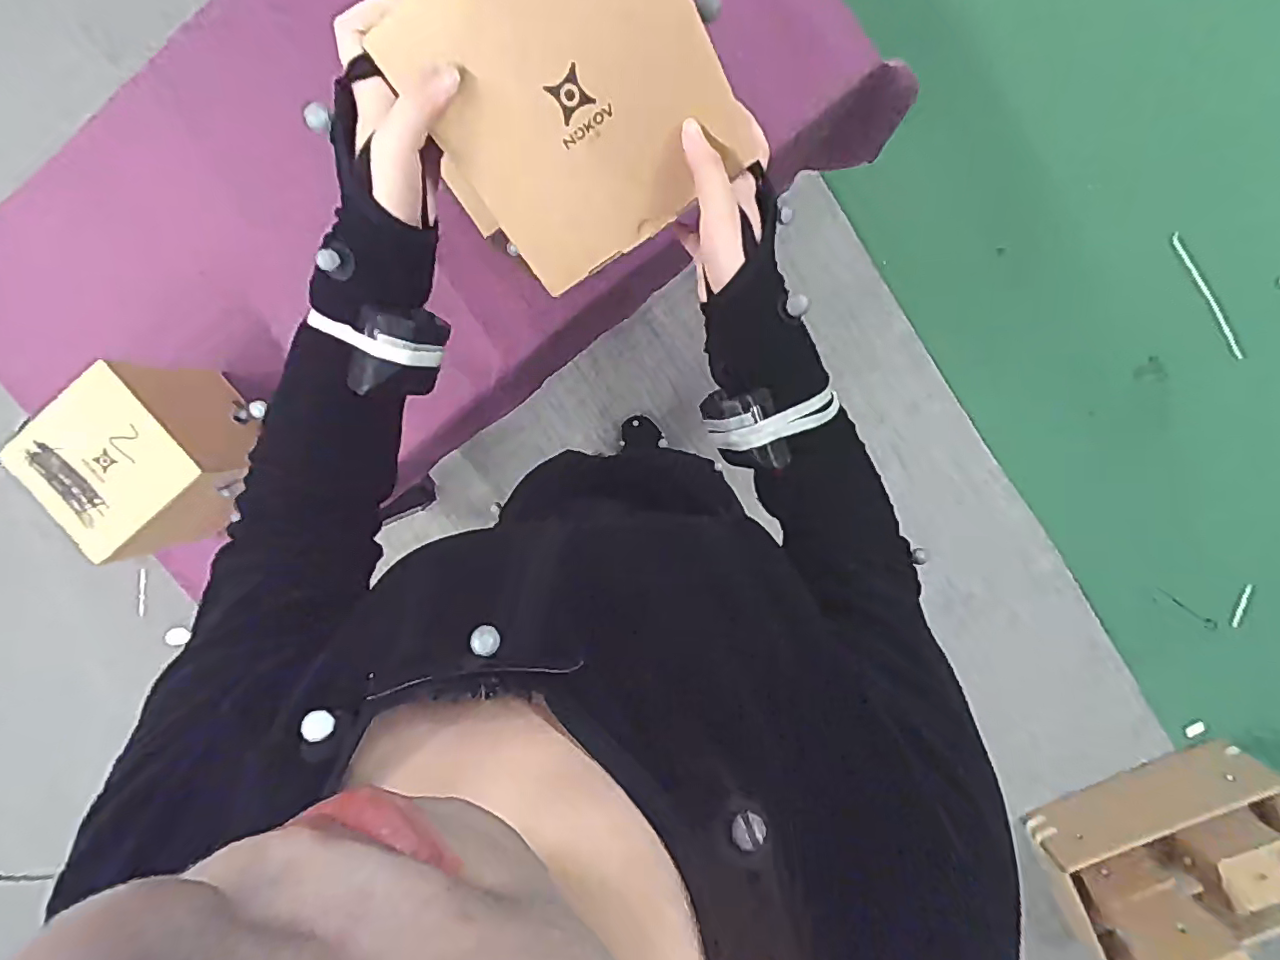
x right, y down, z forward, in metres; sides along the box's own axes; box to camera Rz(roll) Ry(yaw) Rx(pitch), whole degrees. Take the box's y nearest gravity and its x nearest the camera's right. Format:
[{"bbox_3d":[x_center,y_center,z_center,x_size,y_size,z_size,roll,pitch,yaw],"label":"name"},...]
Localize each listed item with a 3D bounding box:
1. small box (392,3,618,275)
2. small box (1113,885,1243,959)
[{"bbox_3d":[-0.141,-0.374,0.633,0.168,0.176,0.179,-34,95,6],"label":"small box"},{"bbox_3d":[1.307,1.144,1.311,0.179,0.176,0.168,-28,95,4],"label":"small box"}]
